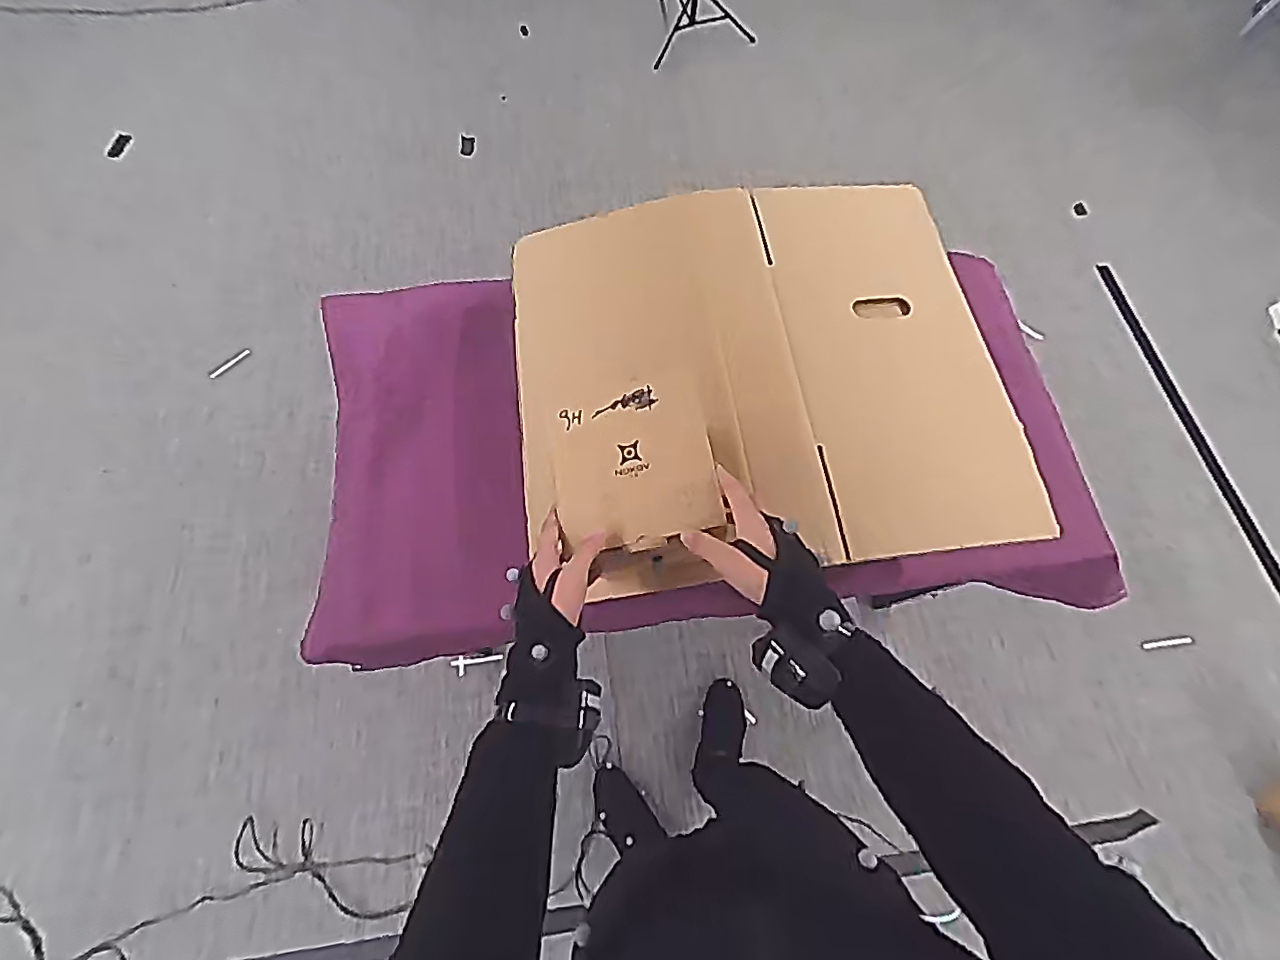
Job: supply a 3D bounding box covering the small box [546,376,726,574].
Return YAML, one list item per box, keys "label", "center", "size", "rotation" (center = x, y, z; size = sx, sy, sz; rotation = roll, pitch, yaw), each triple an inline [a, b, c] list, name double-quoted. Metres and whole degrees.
- label: "small box"
  center: [0.003, 0.008, 0.629]
  size: [0.168, 0.176, 0.179]
  rotation: [-12, 72, 6]
